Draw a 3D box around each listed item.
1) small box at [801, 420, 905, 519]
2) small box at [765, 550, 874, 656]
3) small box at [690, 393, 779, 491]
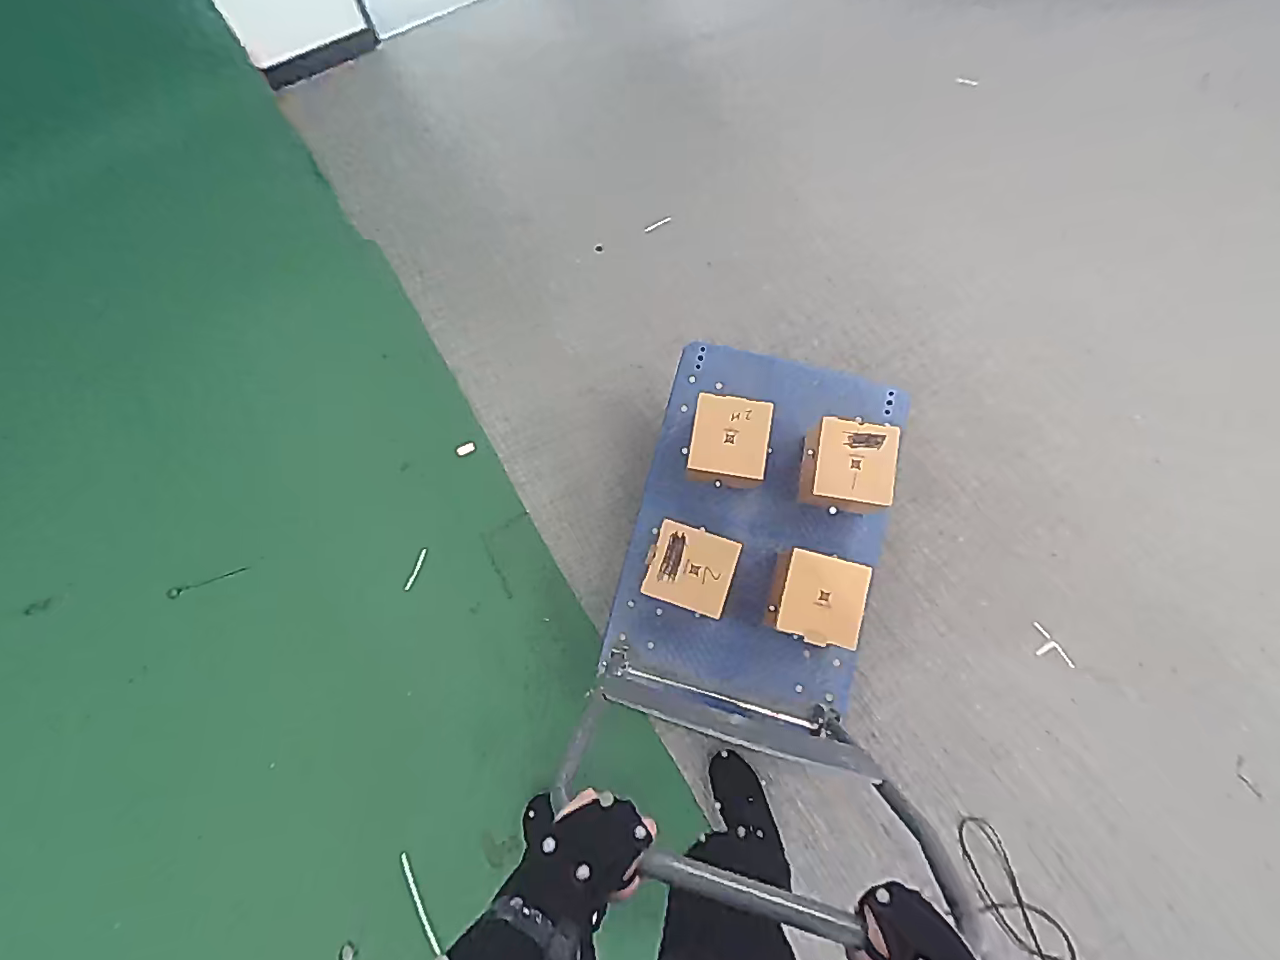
[{"bbox_3d":[0.473,-0.018,1.223,0.168,0.176,0.179,11,81,6],"label":"small box"},{"bbox_3d":[0.382,0.263,1.181,0.168,0.176,0.179,16,82,6],"label":"small box"},{"bbox_3d":[0.210,-0.080,1.248,0.168,0.176,0.179,11,81,4],"label":"small box"}]
